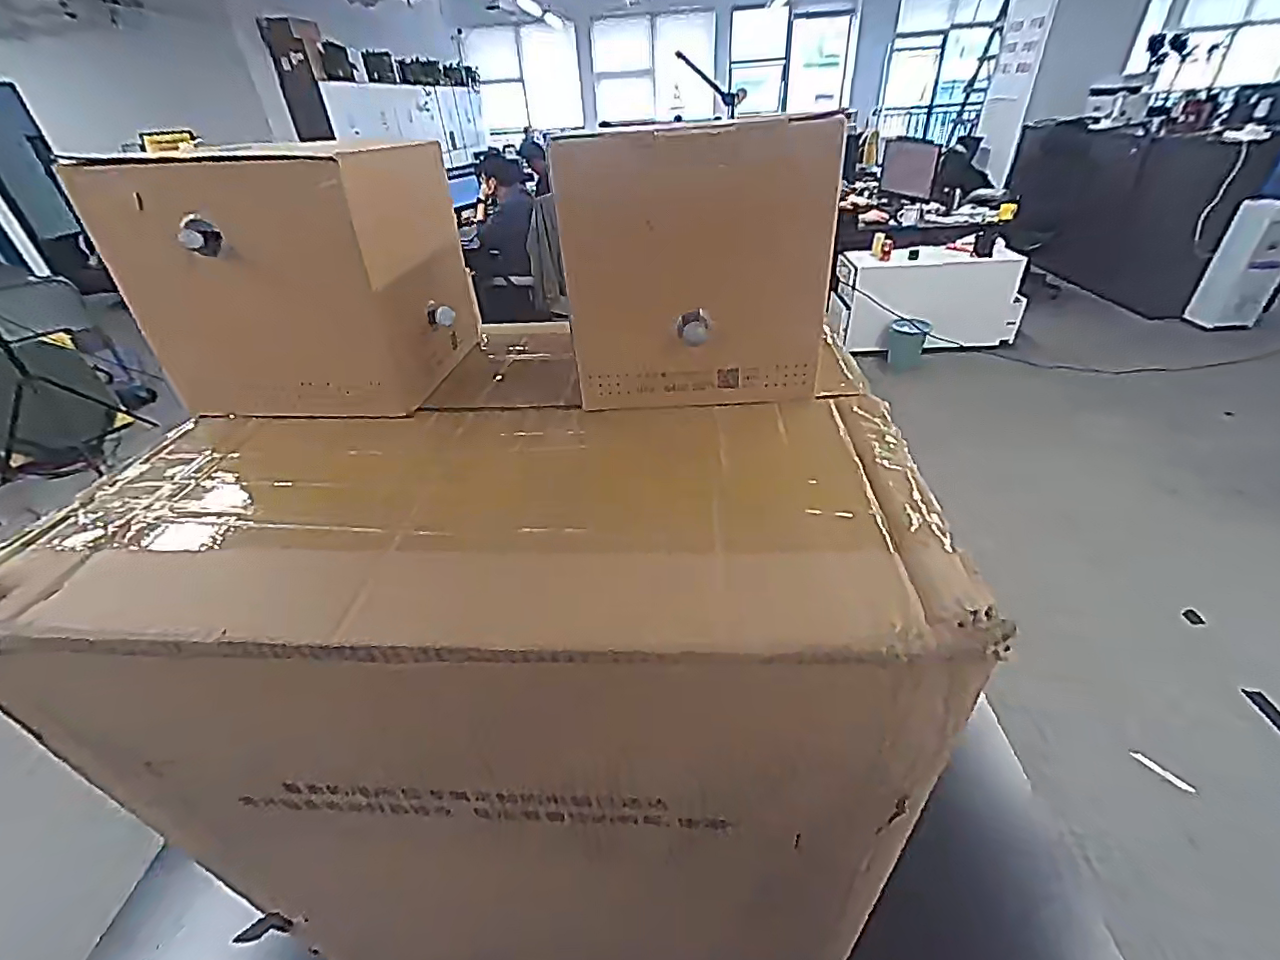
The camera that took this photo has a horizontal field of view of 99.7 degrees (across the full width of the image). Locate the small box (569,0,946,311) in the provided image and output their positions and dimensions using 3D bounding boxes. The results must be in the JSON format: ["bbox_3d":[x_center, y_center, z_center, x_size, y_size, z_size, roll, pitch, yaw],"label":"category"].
[{"bbox_3d":[0.054,-0.209,0.328,0.168,0.176,0.179,-3,33,4],"label":"small box"}]

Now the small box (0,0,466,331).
[{"bbox_3d":[-0.232,-0.199,0.339,0.179,0.176,0.168,1,34,4],"label":"small box"}]
